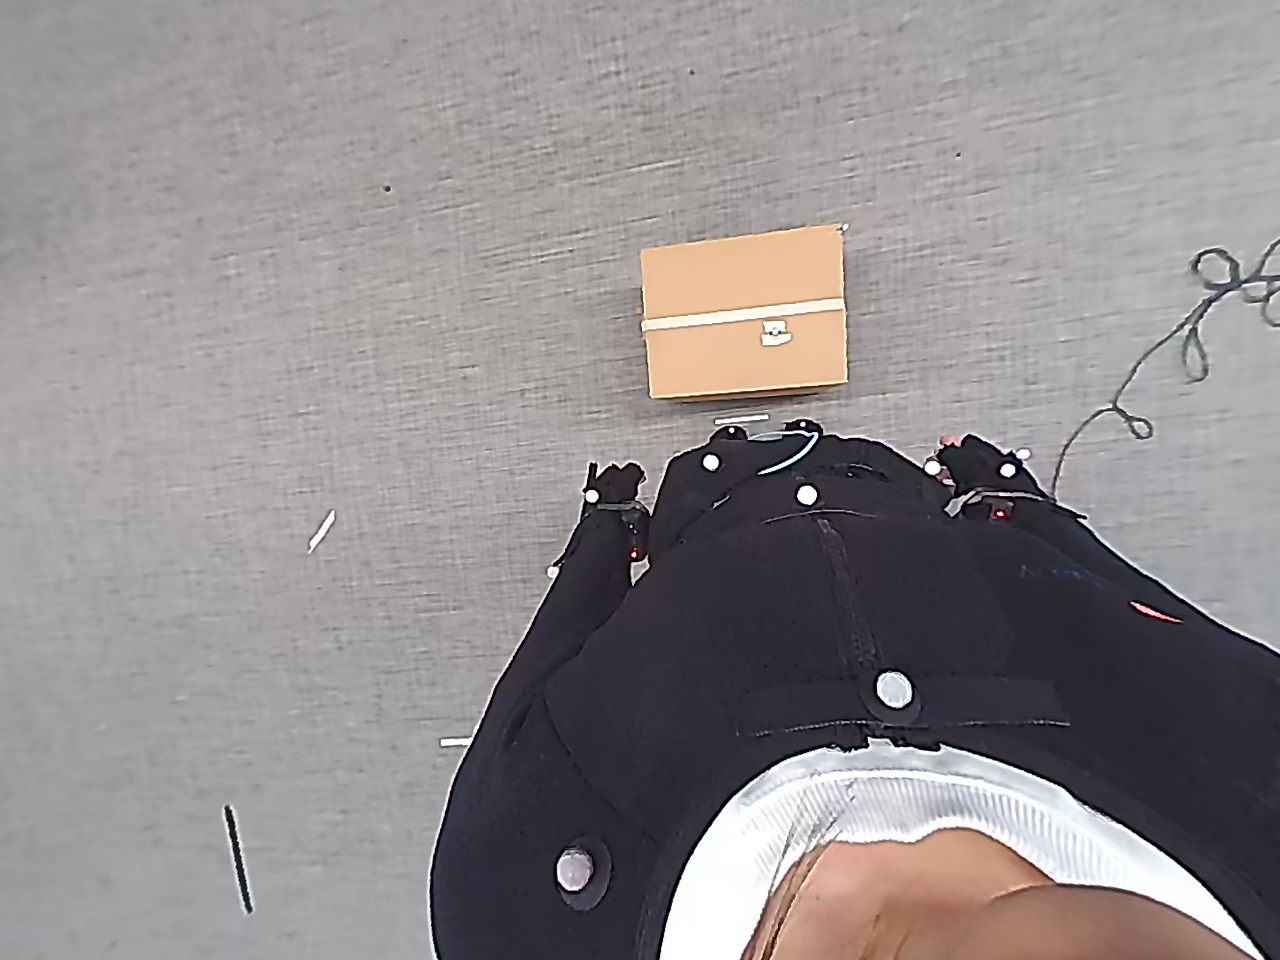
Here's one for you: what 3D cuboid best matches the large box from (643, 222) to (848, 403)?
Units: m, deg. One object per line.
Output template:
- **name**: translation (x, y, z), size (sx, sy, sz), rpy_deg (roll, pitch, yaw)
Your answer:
- **large box**: translation (0.235, -0.358, 1.258), size (0.408, 0.320, 0.320), rpy_deg (-3, 96, 10)
